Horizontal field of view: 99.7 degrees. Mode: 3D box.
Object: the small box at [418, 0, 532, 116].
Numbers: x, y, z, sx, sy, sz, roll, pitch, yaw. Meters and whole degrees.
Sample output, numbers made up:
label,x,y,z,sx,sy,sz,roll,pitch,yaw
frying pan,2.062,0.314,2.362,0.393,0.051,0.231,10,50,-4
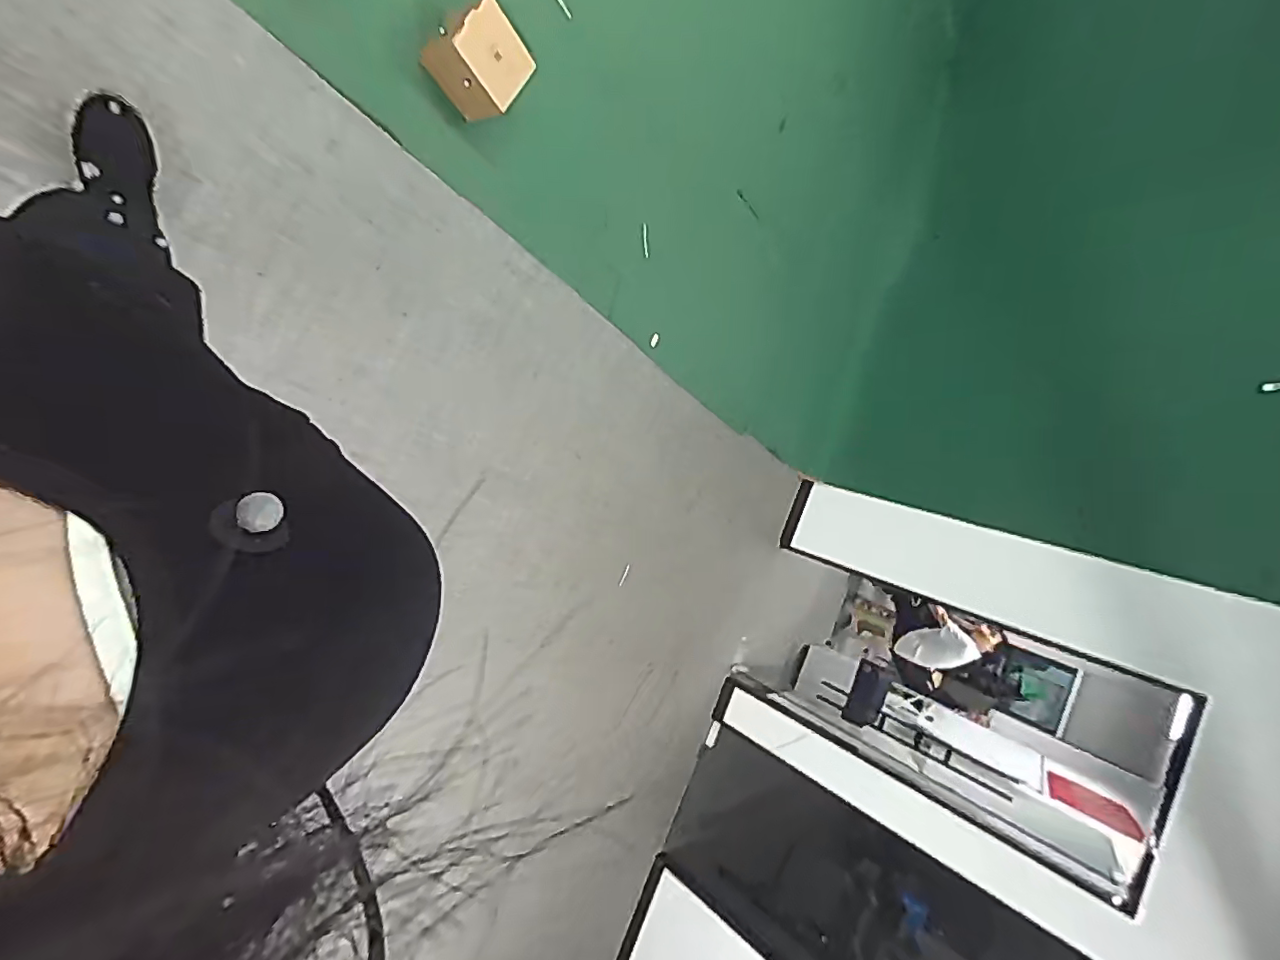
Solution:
label,x,y,z,sx,sy,sz,roll,pitch,yaw
small box,-0.412,-1.045,1.341,0.168,0.176,0.179,-61,142,-10
